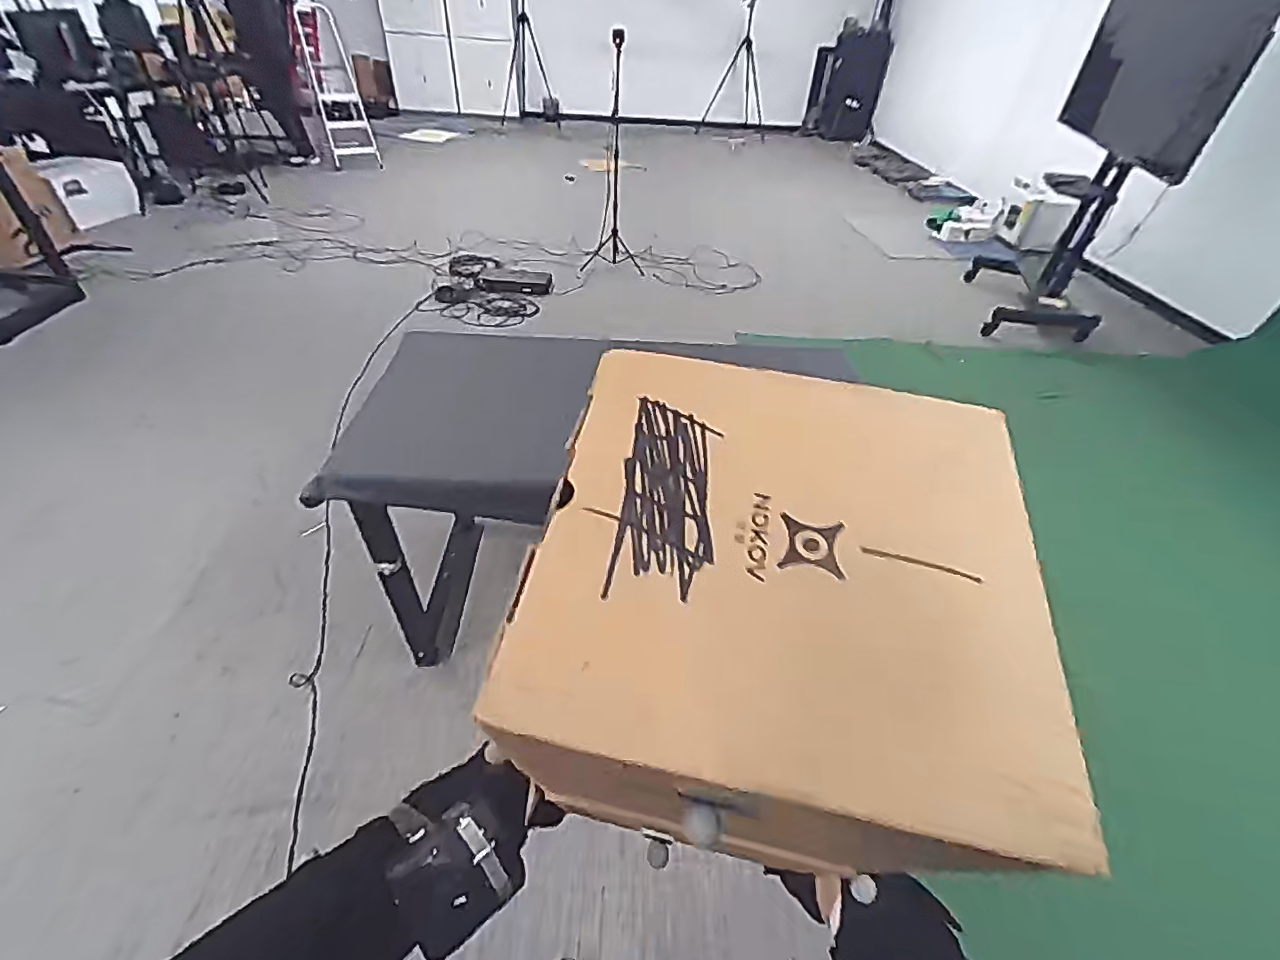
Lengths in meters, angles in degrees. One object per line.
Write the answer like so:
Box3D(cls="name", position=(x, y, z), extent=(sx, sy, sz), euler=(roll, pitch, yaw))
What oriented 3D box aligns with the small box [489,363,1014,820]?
Box3D(cls="small box", position=(0.046, 0.067, 0.285), extent=(0.179, 0.176, 0.168), euler=(11, 56, 5))
